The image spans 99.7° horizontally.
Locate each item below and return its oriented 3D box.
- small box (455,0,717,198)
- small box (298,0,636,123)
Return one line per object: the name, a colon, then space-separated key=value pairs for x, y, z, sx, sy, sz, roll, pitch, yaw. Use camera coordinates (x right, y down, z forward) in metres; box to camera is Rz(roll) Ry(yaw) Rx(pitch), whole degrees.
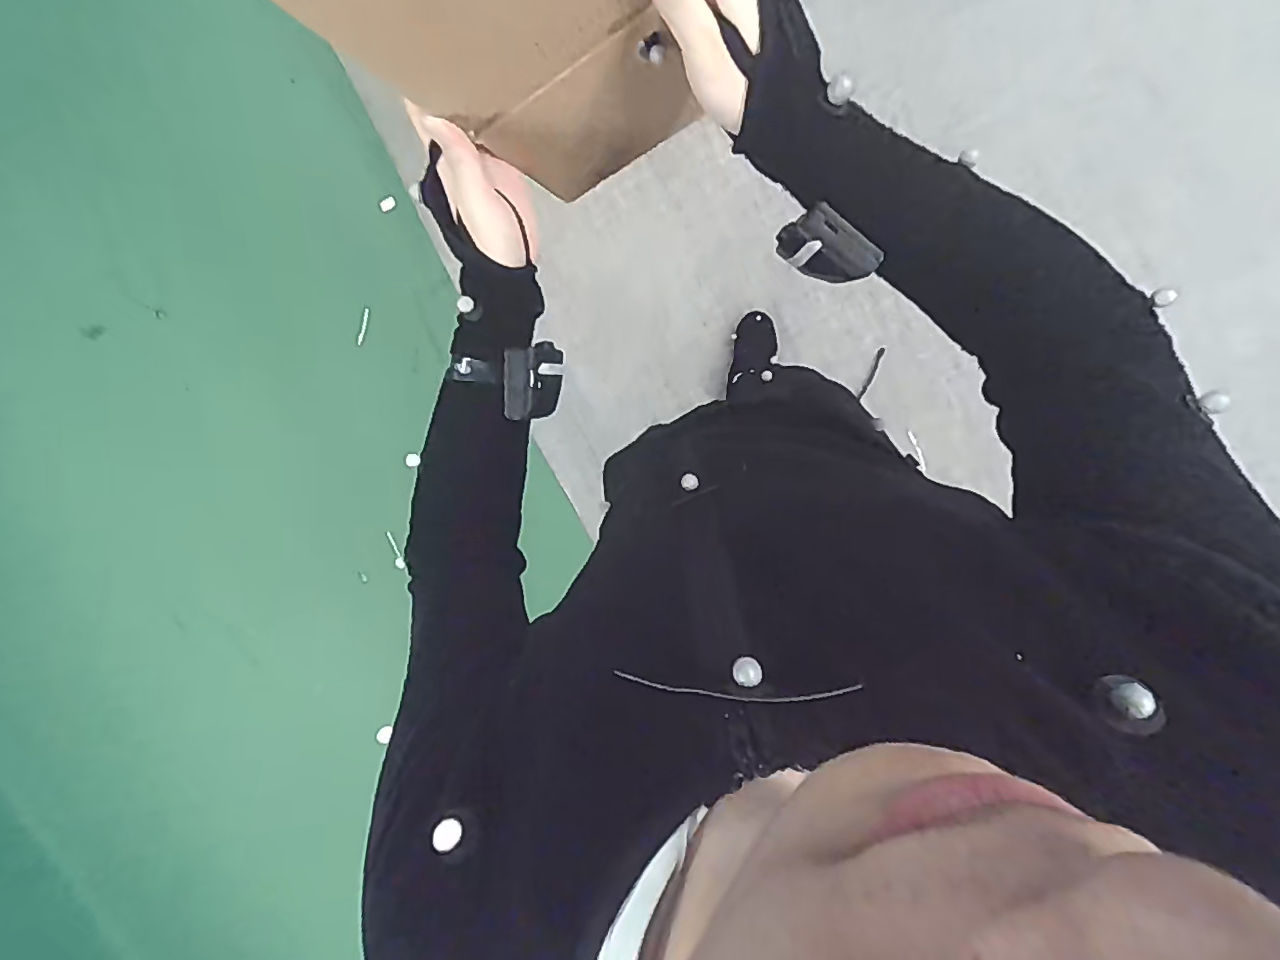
small box: x=-0.058 y=-0.352 z=0.411 sx=0.179 sy=0.176 sz=0.168 roll=-24 pitch=94 yaw=17
small box: x=-0.102 y=-0.316 z=0.250 sx=0.179 sy=0.176 sz=0.168 roll=-24 pitch=95 yaw=17
